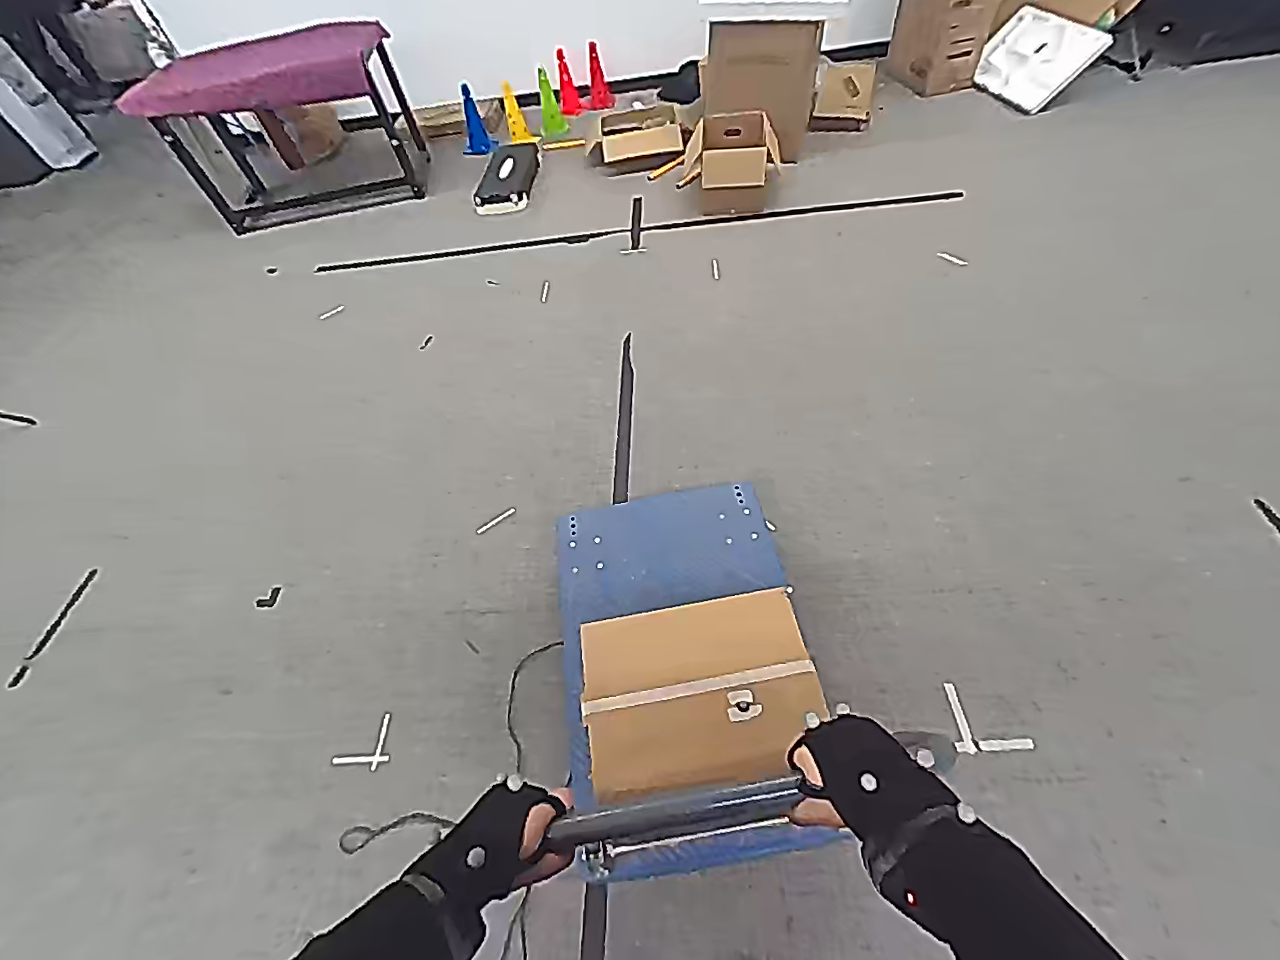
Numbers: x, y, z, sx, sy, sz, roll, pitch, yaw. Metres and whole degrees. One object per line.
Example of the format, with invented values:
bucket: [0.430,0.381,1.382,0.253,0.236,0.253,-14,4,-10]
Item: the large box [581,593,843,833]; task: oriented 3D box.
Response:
large box: [0.120,0.463,1.058,0.408,0.320,0.320,-11,53,0]
